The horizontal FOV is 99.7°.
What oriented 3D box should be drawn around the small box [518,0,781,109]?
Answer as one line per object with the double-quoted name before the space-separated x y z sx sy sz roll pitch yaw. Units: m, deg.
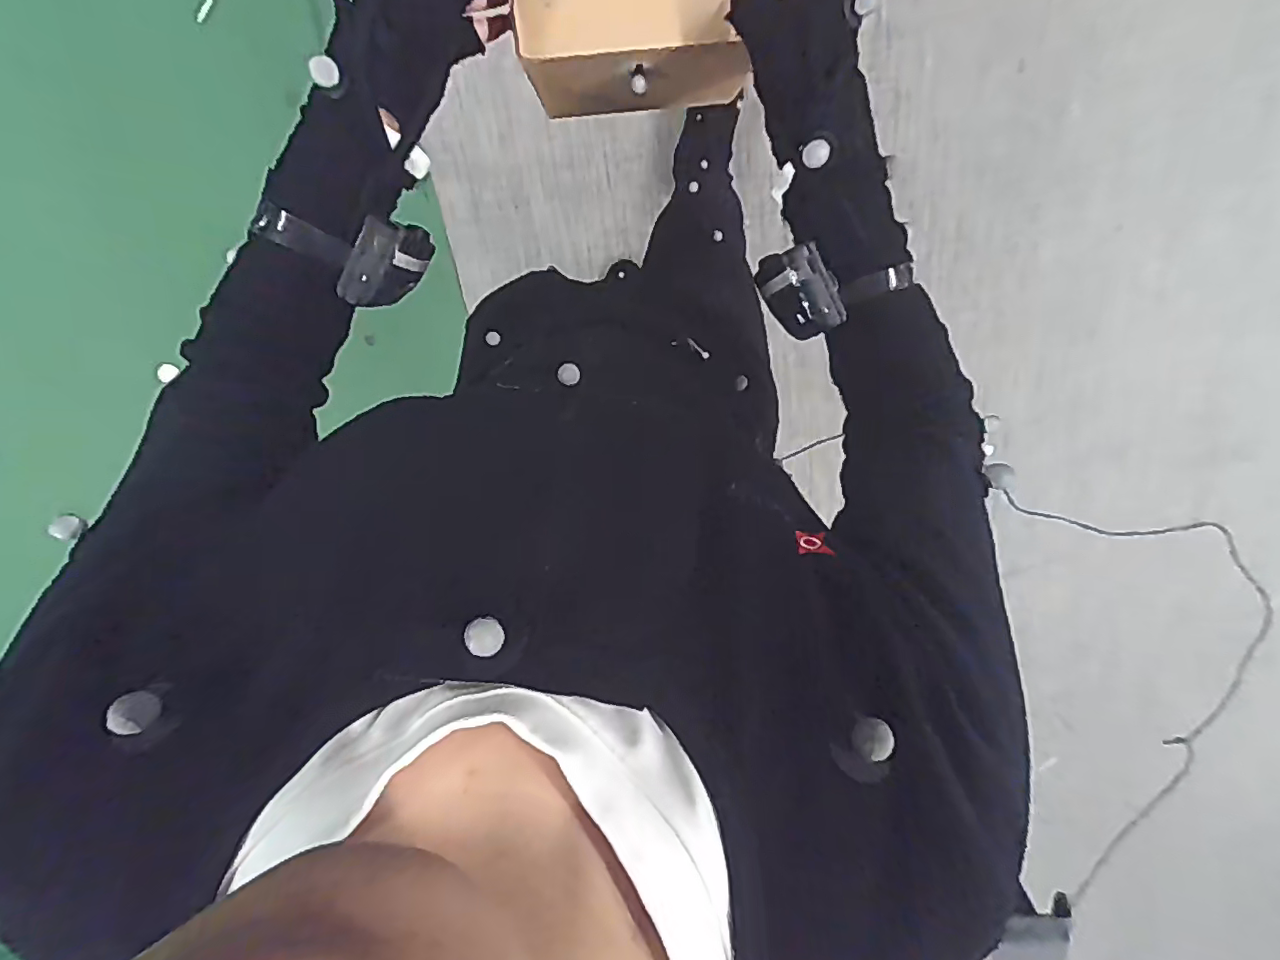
"small box" -0.001 -0.402 0.409 0.179 0.176 0.168 -6 113 -1
